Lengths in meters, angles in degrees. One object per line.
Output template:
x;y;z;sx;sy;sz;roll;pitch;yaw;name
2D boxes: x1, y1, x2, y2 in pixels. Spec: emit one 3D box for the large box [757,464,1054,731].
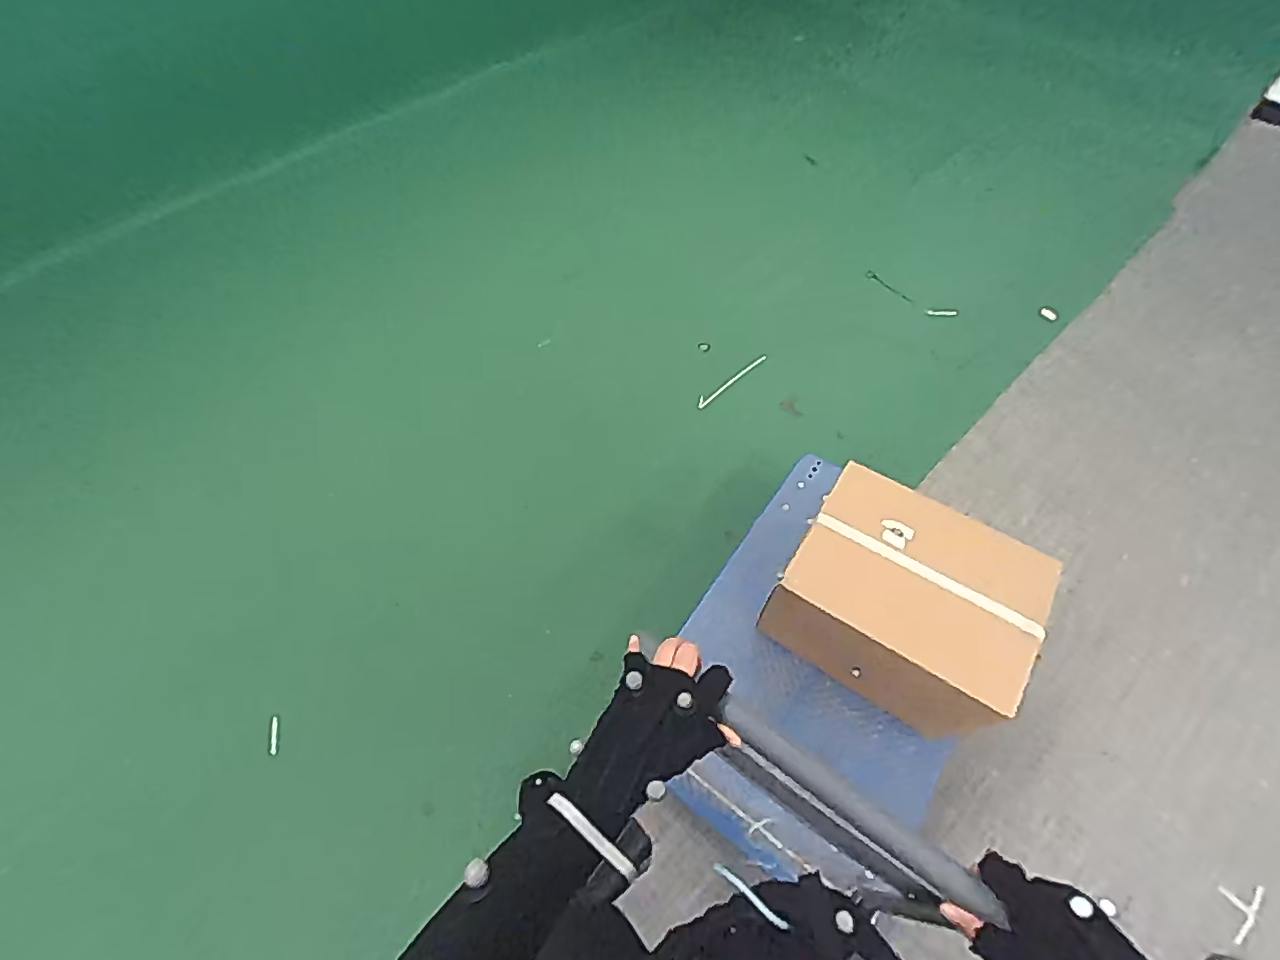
0.498;0.241;1.088;0.408;0.320;0.320;30;65;20;large box
